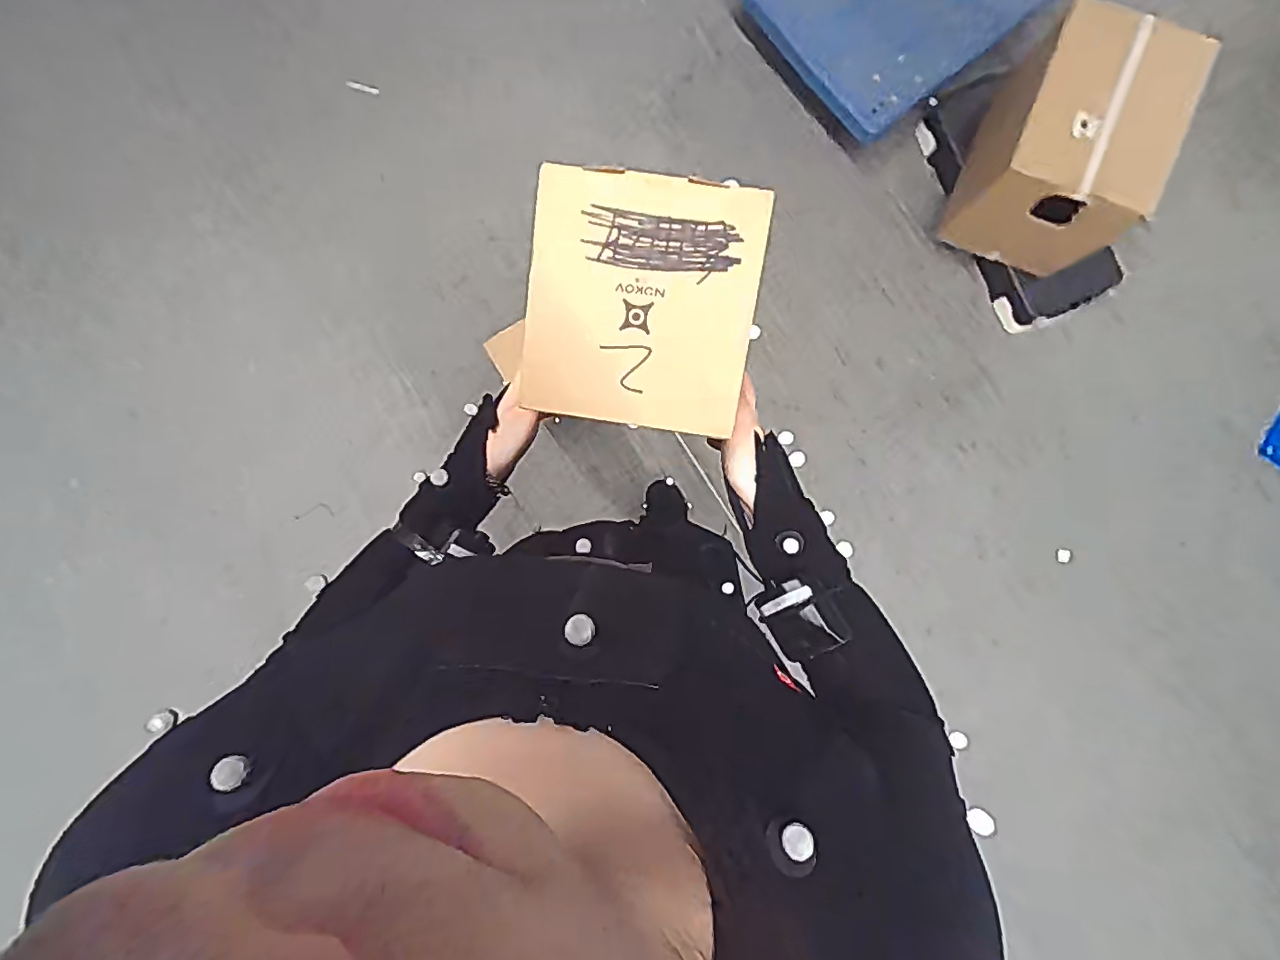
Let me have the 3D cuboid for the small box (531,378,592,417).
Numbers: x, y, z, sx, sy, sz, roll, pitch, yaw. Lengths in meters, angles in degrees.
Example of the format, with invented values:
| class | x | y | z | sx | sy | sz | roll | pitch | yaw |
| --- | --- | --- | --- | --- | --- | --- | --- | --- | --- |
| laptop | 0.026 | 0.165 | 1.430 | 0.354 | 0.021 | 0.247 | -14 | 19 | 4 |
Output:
| class | x | y | z | sx | sy | sz | roll | pitch | yaw |
| --- | --- | --- | --- | --- | --- | --- | --- | --- | --- |
| small box | -0.242 | -0.282 | 1.446 | 0.168 | 0.176 | 0.179 | -31 | 88 | 0 |

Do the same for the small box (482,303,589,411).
| class | x | y | z | sx | sy | sz | roll | pitch | yaw |
| --- | --- | --- | --- | --- | --- | --- | --- | --- | --- |
| small box | -0.239 | -0.281 | 1.281 | 0.179 | 0.176 | 0.168 | -31 | 89 | 0 |
